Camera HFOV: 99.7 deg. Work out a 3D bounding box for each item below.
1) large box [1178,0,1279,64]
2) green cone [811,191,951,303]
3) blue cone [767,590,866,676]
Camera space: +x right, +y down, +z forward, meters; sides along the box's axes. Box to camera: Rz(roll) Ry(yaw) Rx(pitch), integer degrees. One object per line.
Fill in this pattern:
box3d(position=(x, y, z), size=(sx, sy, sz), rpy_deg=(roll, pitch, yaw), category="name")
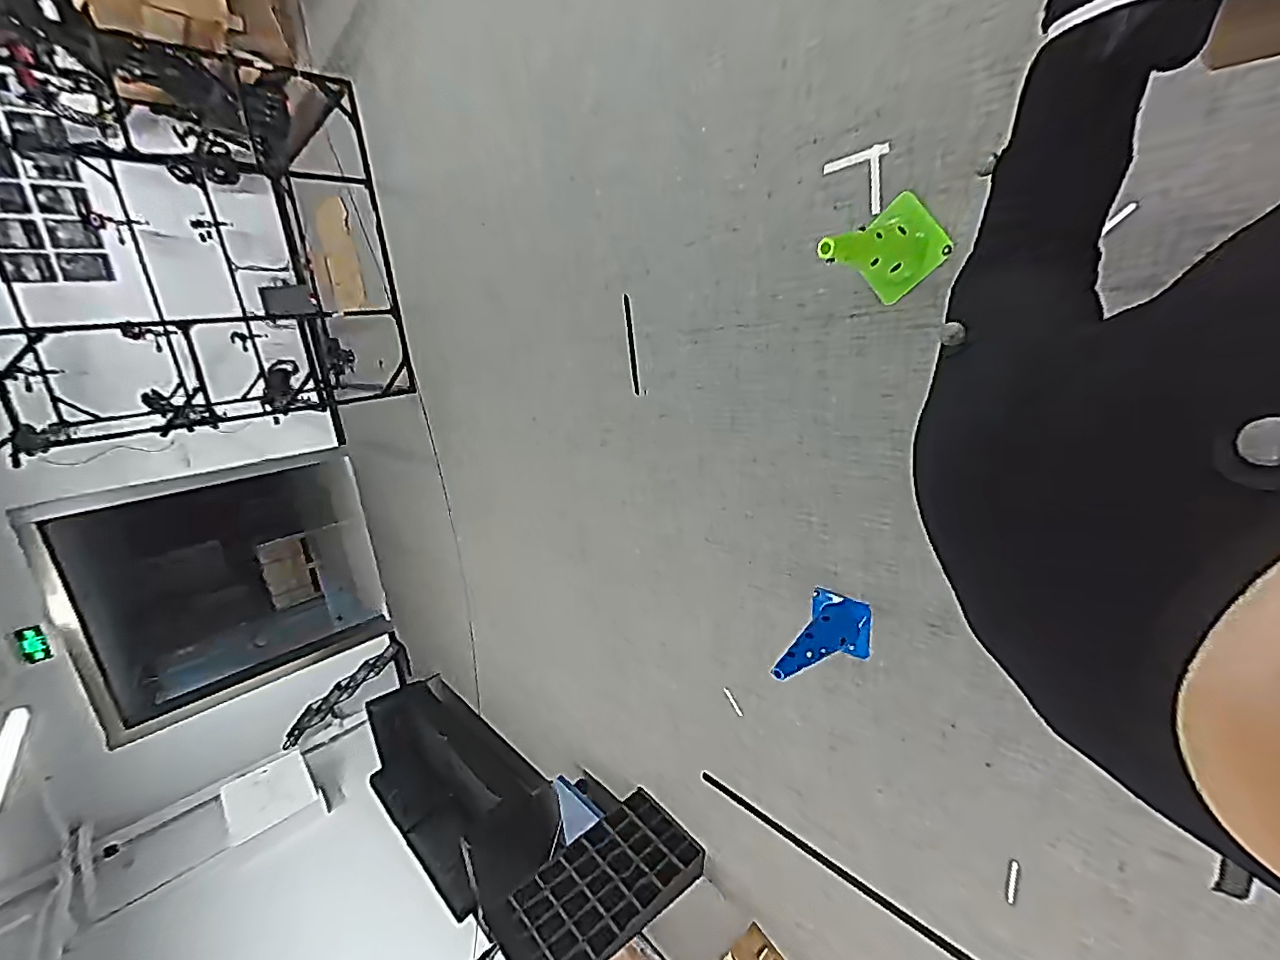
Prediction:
box3d(position=(0.561, -0.462, 0.246), size=(0.408, 0.320, 0.320), rpy_deg=(17, 121, 44), category="large box")
box3d(position=(0.516, -0.537, 1.252), size=(0.200, 0.368, 0.202), rpy_deg=(61, 141, 14), category="green cone")
box3d(position=(0.530, 0.510, 1.680), size=(0.192, 0.380, 0.193), rpy_deg=(17, 117, 46), category="blue cone")
